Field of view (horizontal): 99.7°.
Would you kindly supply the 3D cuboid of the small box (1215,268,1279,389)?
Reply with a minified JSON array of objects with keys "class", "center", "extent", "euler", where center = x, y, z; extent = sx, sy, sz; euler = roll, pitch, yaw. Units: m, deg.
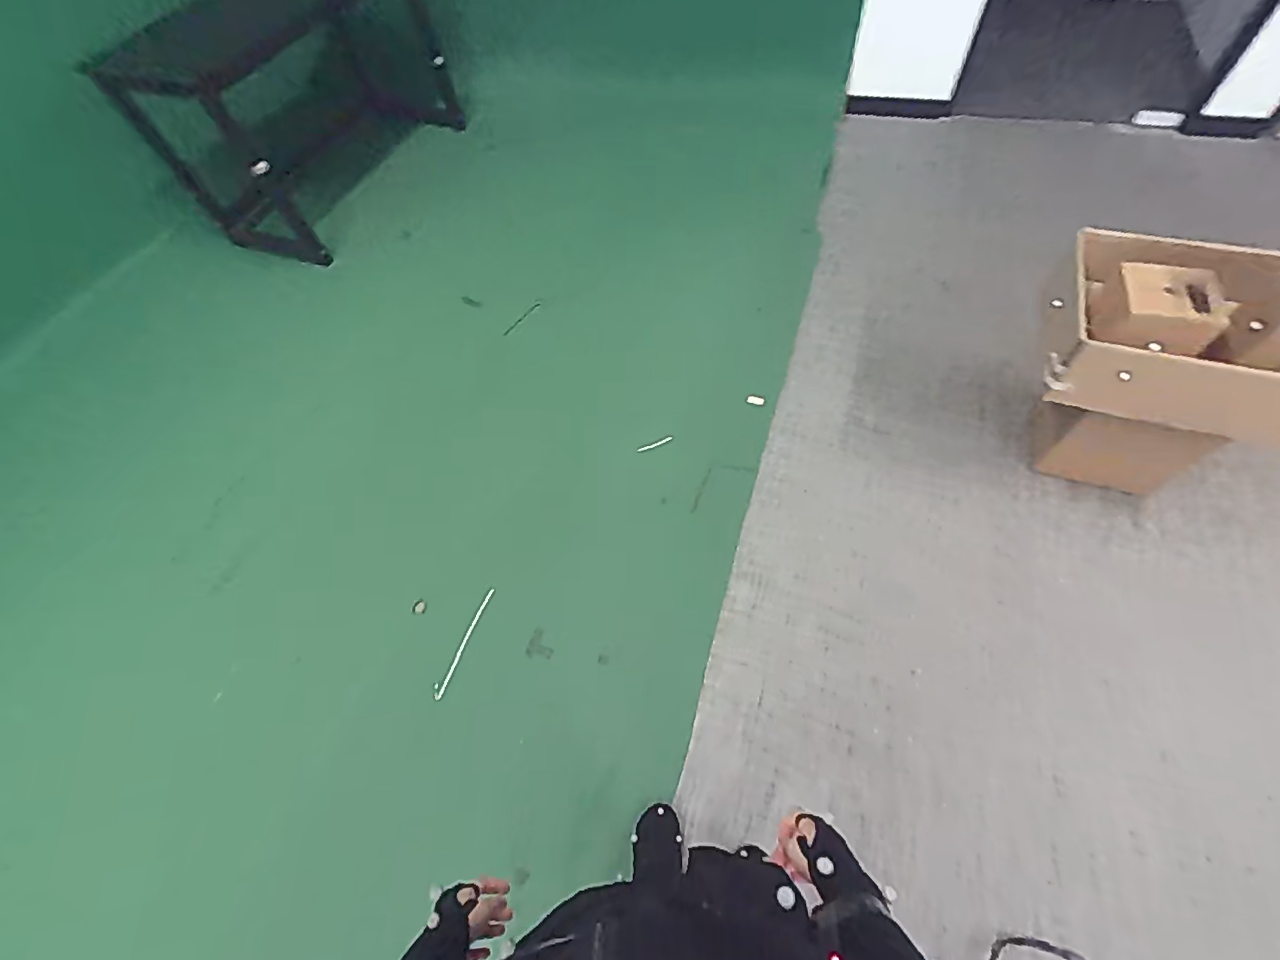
[{"class":"small box","center":[1.387,-0.313,1.150],"extent":[0.168,0.176,0.179],"euler":[19,64,17]}]
